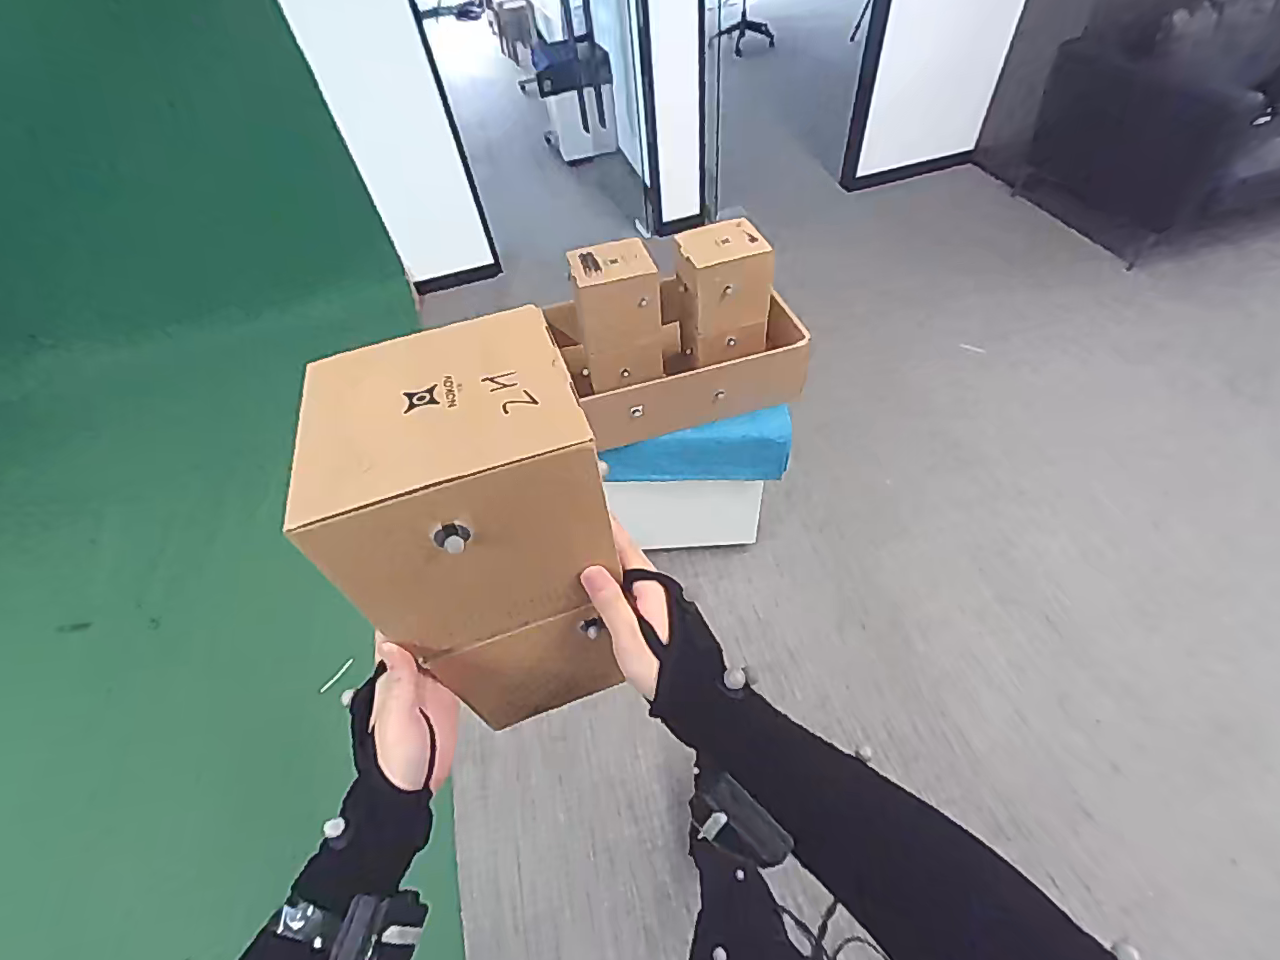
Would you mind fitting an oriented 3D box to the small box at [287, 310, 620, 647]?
[{"bbox_3d":[-0.126,0.001,0.415,0.179,0.176,0.168,-17,49,-9],"label":"small box"}]

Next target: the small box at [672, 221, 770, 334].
[{"bbox_3d":[0.186,-0.462,1.247,0.179,0.176,0.168,-17,51,-4],"label":"small box"}]

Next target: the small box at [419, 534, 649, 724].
[{"bbox_3d":[-0.103,0.114,0.541,0.179,0.176,0.168,-18,46,-8],"label":"small box"}]
